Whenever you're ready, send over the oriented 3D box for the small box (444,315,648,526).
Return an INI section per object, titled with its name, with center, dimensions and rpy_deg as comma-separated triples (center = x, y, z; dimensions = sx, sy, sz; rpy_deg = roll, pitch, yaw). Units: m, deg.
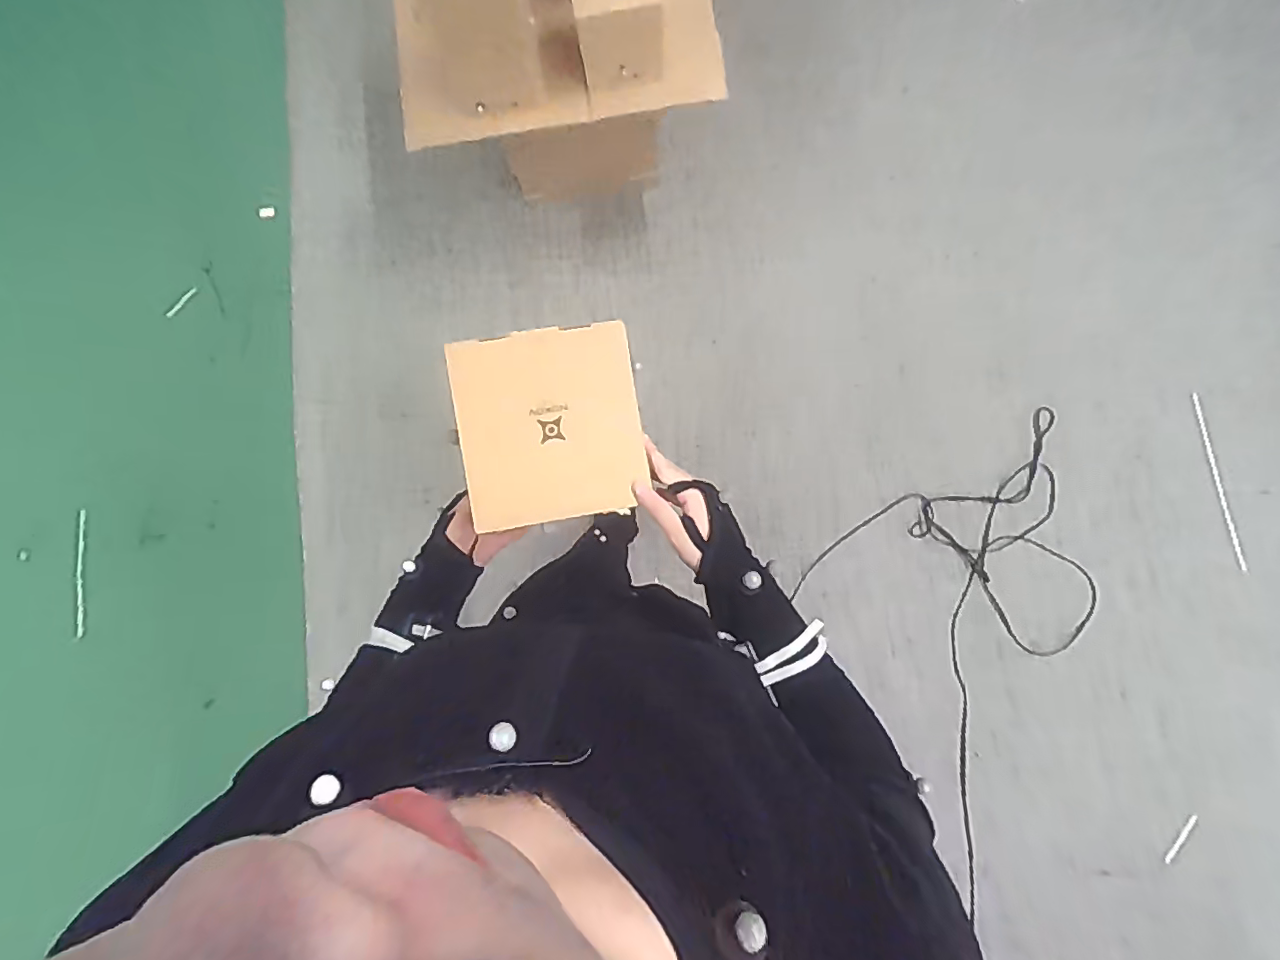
[small box]
center = -0.091, -0.054, 0.571
dimensions = 0.168, 0.176, 0.179
rpy_deg = -10, 88, -6
